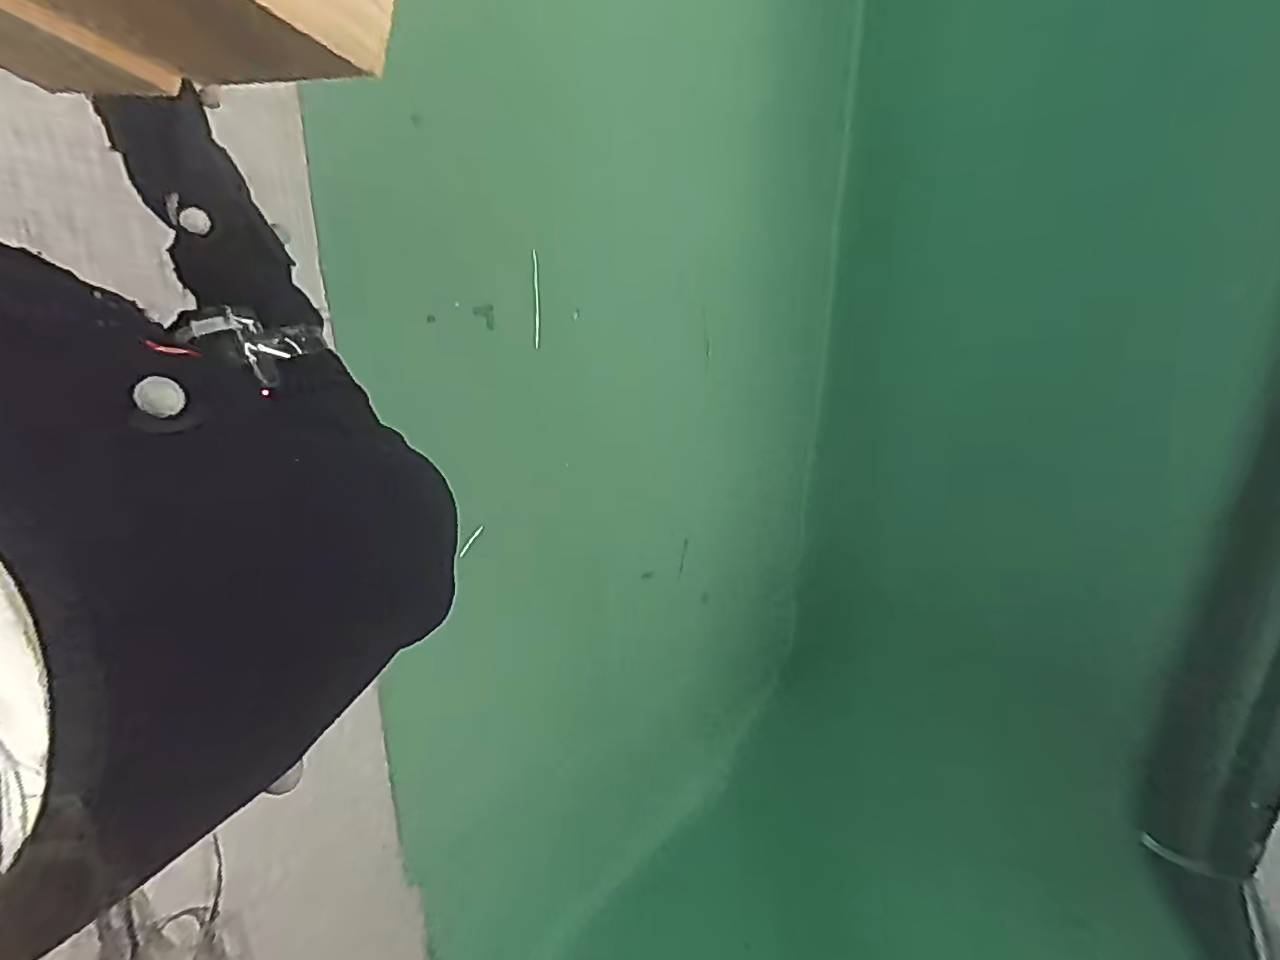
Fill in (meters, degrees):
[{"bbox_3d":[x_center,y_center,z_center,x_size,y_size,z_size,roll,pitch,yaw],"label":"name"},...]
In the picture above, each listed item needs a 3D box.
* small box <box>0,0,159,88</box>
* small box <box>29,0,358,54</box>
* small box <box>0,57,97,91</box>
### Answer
[{"bbox_3d":[-0.298,-0.293,0.207,0.168,0.176,0.179,6,108,-56],"label":"small box"},{"bbox_3d":[-0.174,-0.232,0.120,0.179,0.176,0.168,1,112,-55],"label":"small box"},{"bbox_3d":[-0.421,-0.355,0.295,0.179,0.176,0.168,6,108,-57],"label":"small box"}]
